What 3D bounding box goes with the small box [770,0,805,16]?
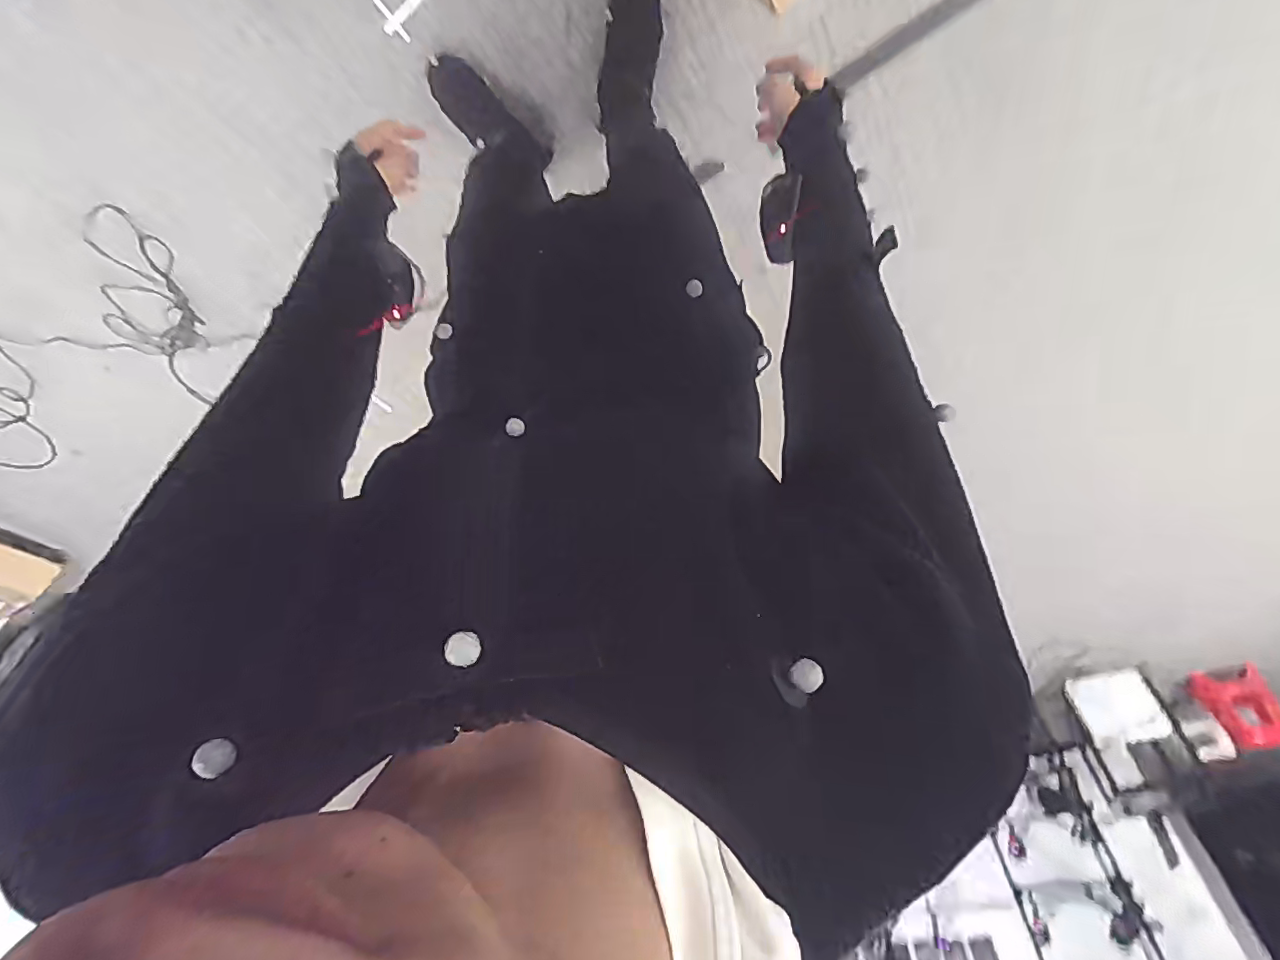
[{"bbox_3d":[0.179,-0.655,0.576,0.179,0.176,0.168,-28,132,26],"label":"small box"}]
